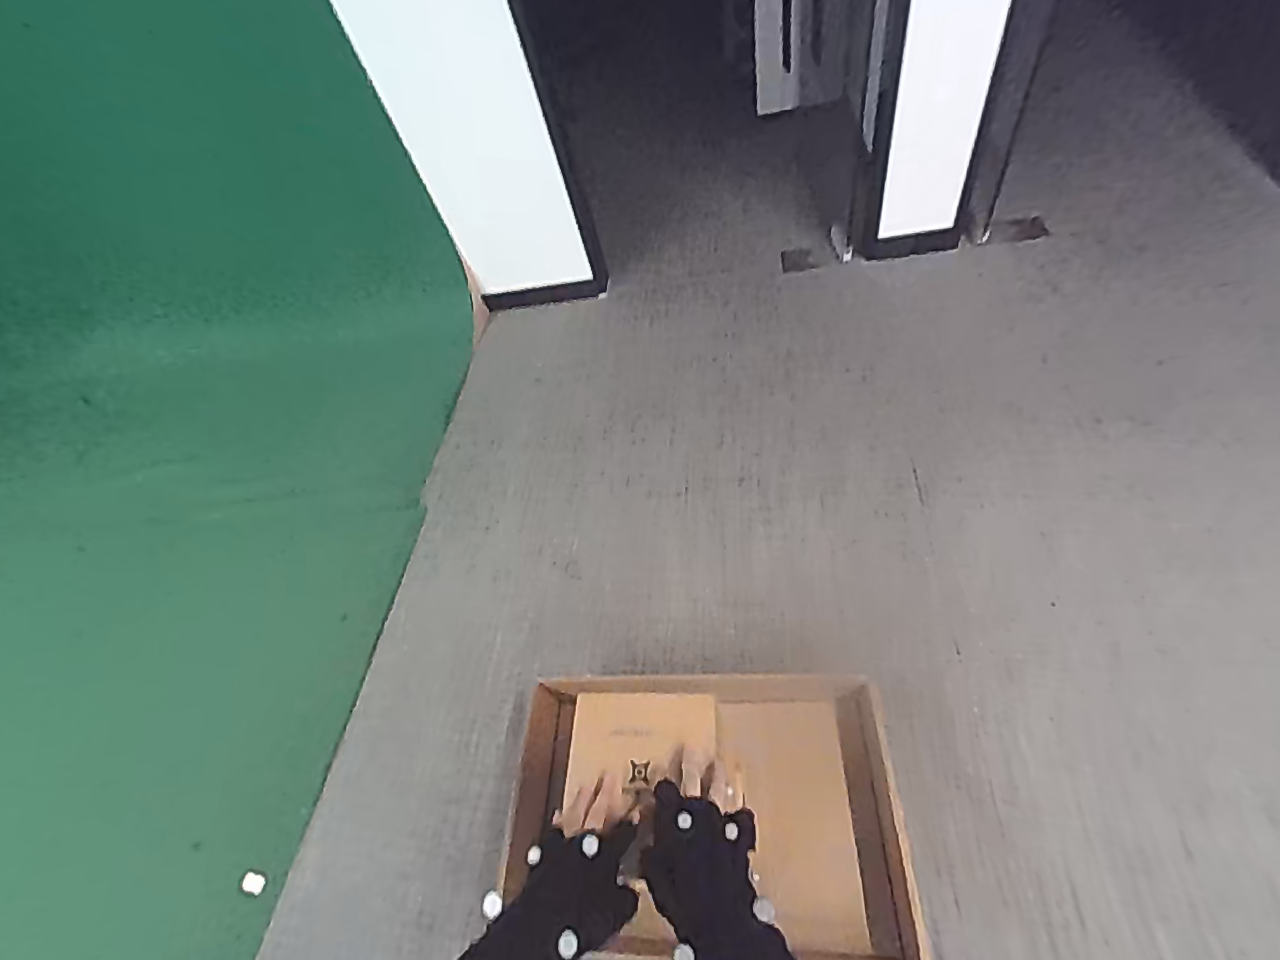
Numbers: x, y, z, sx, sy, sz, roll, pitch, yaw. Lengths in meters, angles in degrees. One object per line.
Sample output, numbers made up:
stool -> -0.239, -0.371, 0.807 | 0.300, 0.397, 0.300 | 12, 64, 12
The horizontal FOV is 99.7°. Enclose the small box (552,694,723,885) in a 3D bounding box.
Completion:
small box -> 0.010, 0.373, 0.652 | 0.168, 0.176, 0.179 | -4, 50, 11

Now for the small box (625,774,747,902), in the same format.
small box -> 0.088, 0.591, 0.904 | 0.179, 0.176, 0.168 | -3, 51, 14

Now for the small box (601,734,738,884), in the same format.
small box -> 0.048, 0.482, 0.793 | 0.168, 0.176, 0.179 | -7, 51, 11
